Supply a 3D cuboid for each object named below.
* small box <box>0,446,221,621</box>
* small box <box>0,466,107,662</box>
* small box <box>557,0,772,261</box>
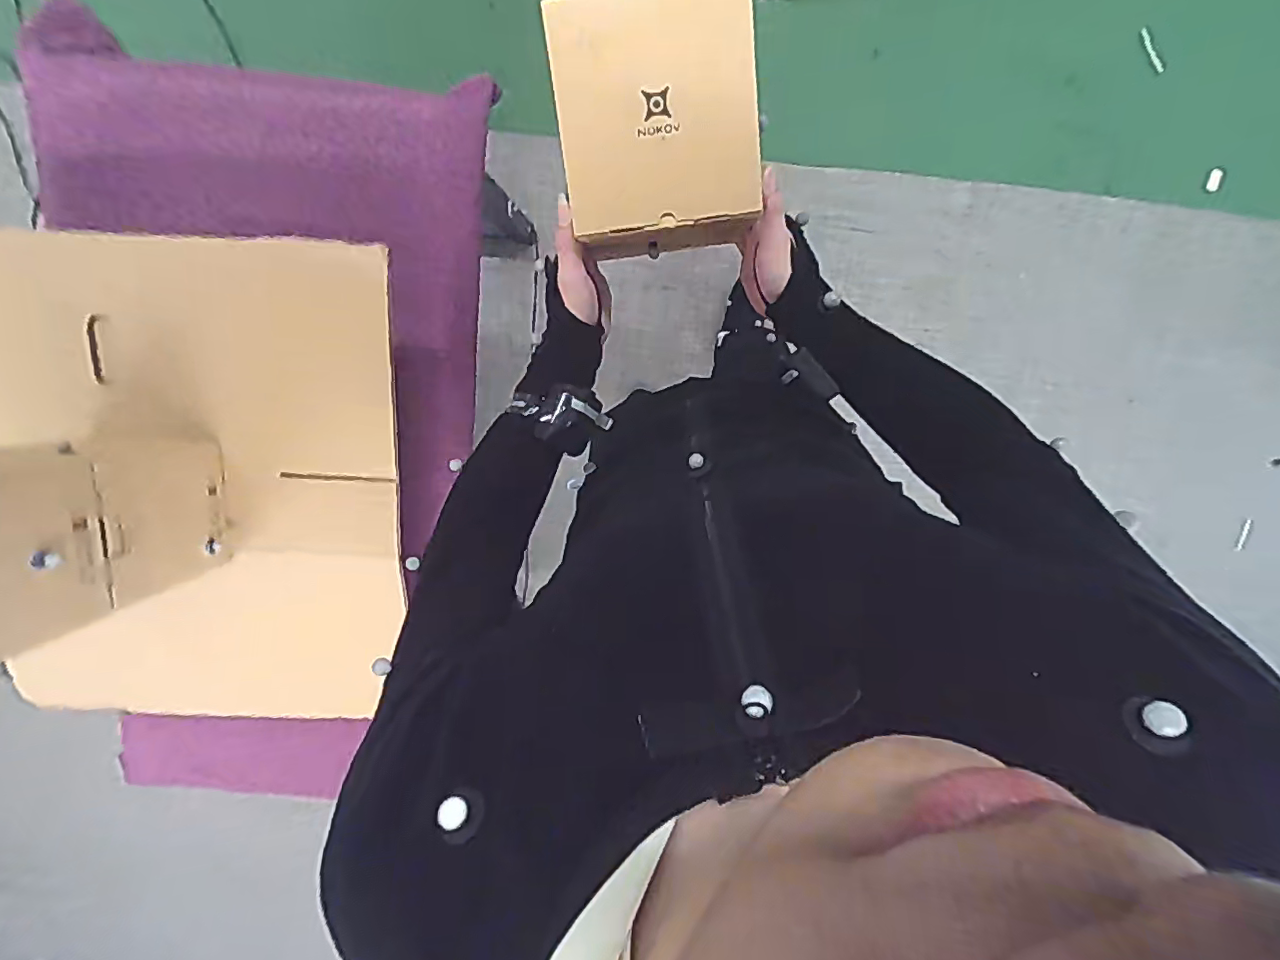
[{"bbox_3d":[-0.634,0.051,0.635,0.179,0.176,0.168,2,99,1],"label":"small box"},{"bbox_3d":[-0.638,0.080,0.473,0.179,0.176,0.168,2,100,-1],"label":"small box"},{"bbox_3d":[0.023,-0.319,0.516,0.168,0.176,0.179,-6,107,3],"label":"small box"}]
